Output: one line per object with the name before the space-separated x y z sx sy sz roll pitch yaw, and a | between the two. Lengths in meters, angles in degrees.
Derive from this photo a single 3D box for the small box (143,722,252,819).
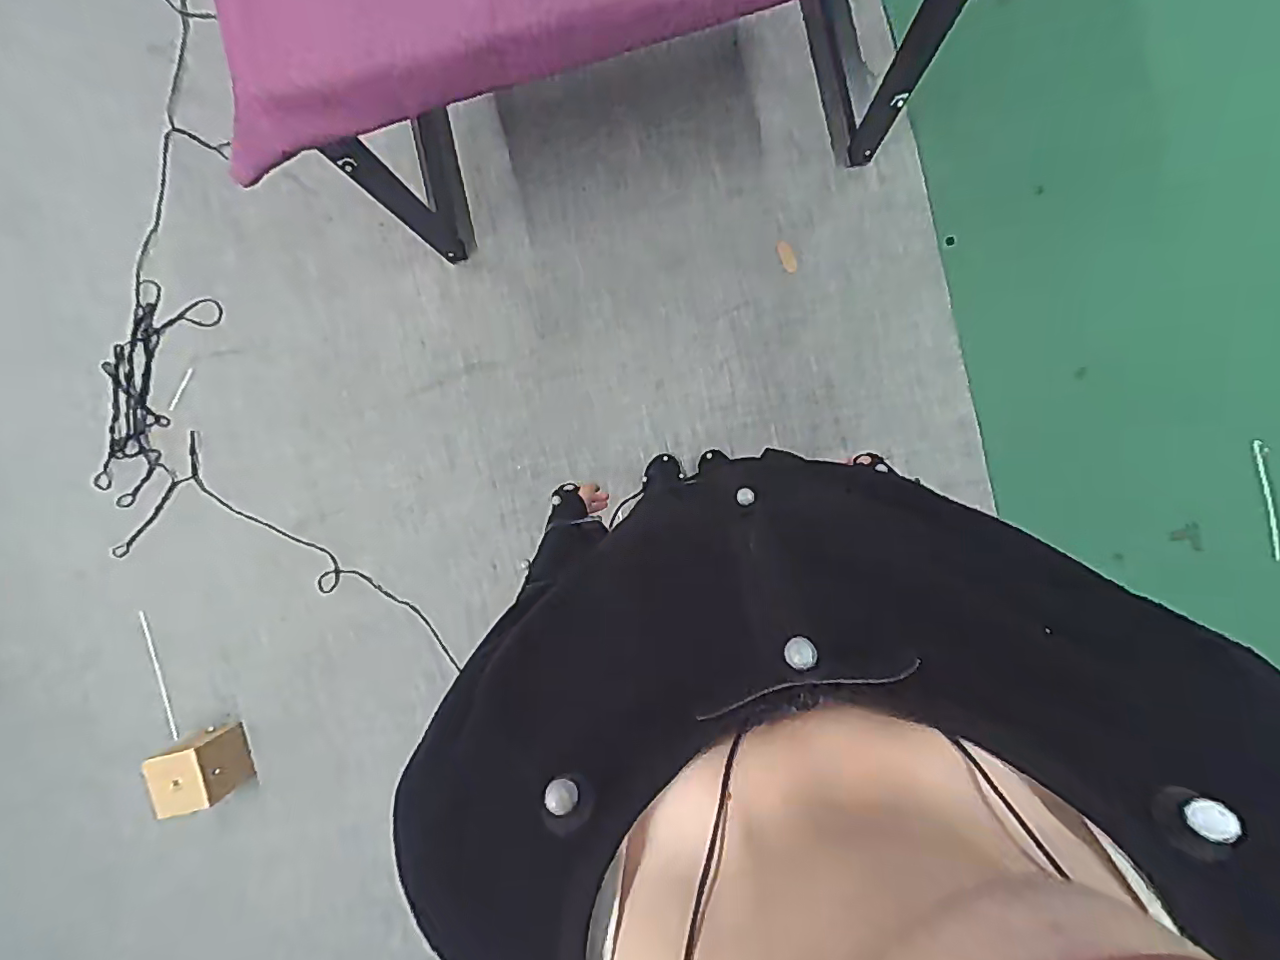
small box | -1.279 0.840 1.576 0.168 0.176 0.179 -14 90 5
